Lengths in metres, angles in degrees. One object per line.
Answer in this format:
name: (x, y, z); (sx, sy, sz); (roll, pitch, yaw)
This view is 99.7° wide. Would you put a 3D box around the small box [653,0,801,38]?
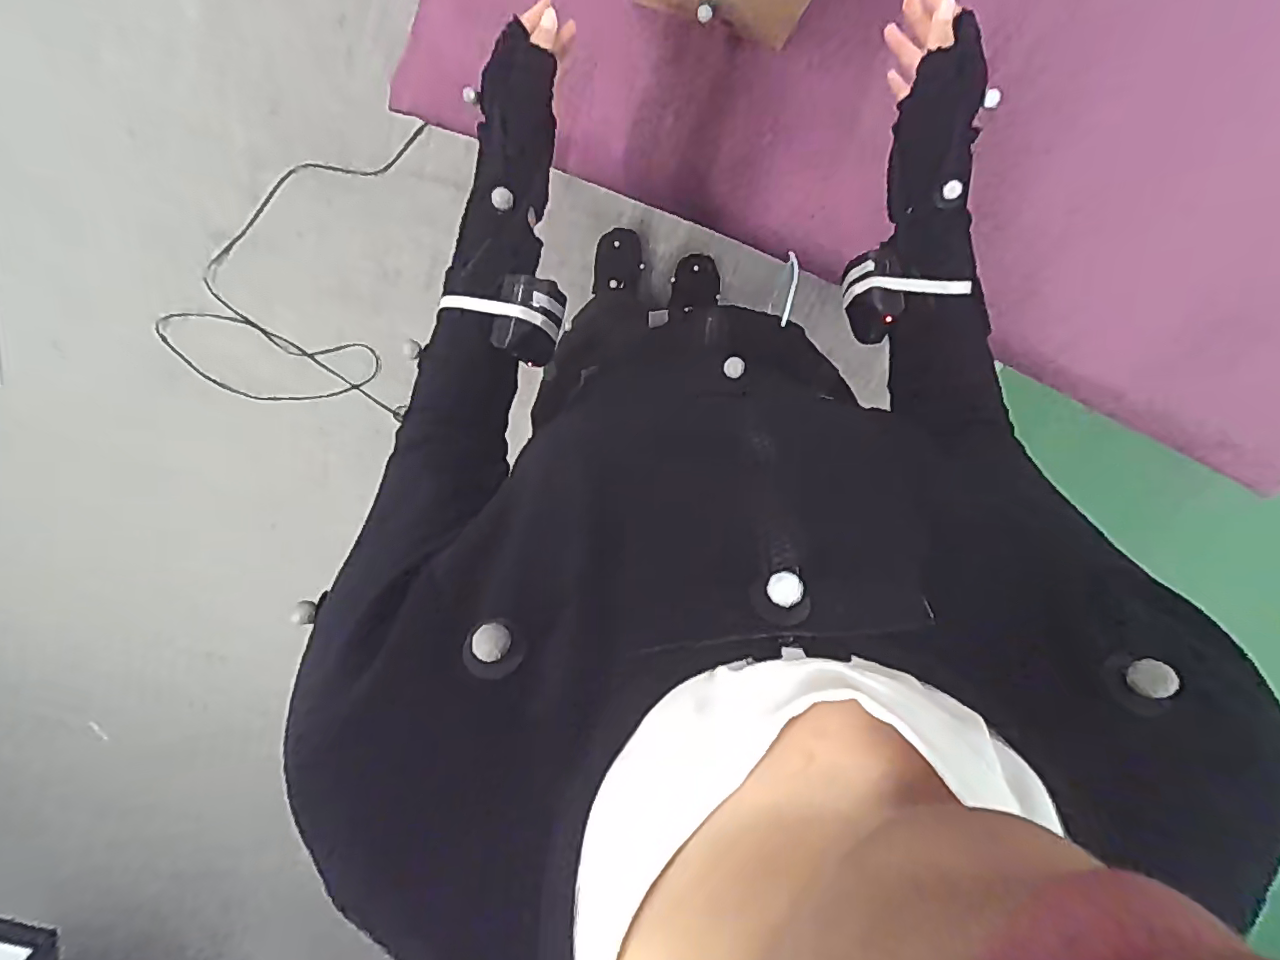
small box: (0.084, -0.512, 0.438); (0.168, 0.176, 0.179); (15, 113, -4)
